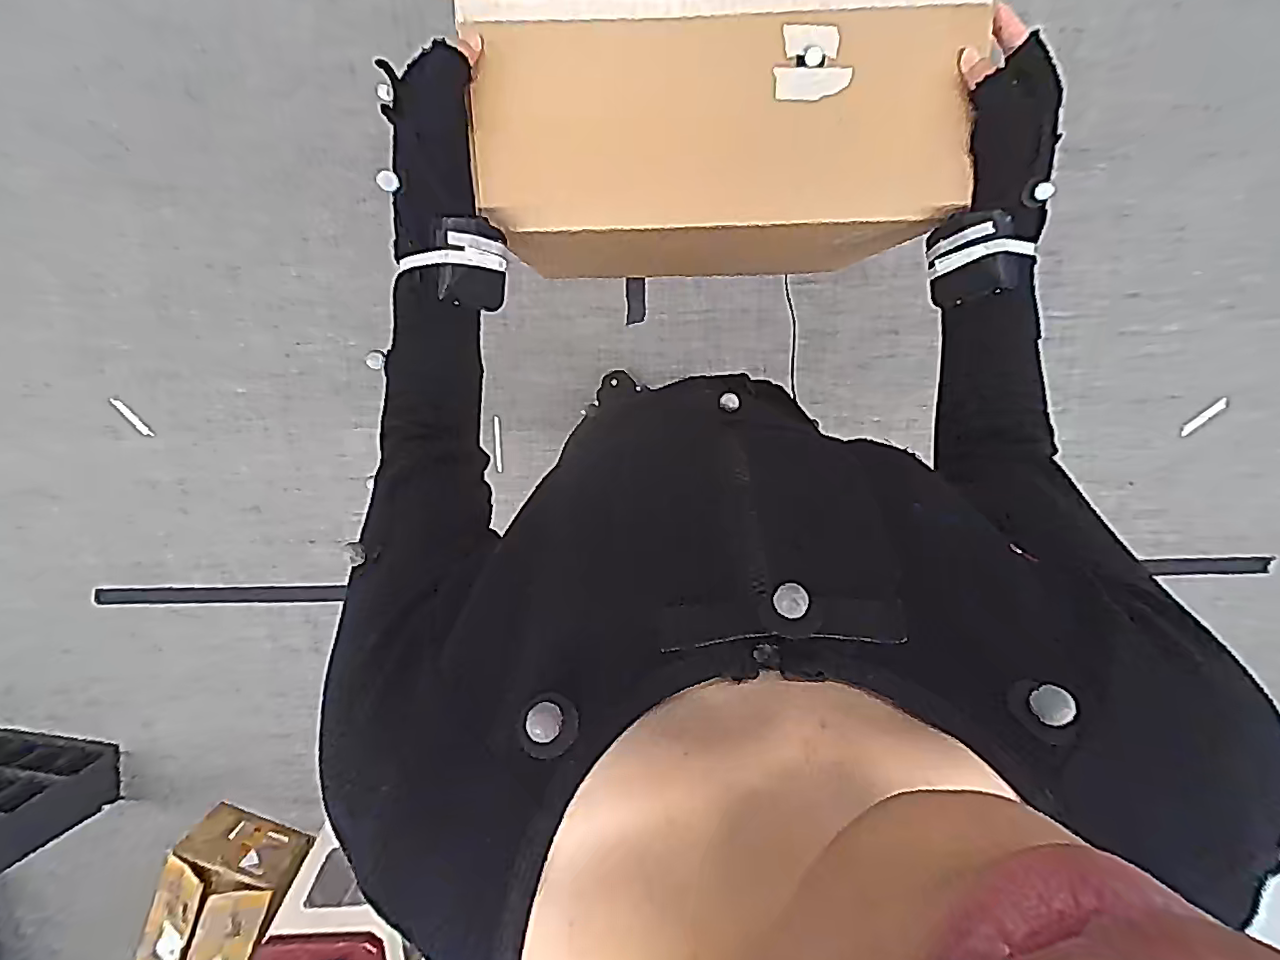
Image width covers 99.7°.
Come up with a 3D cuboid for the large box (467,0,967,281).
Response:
[{"bbox_3d":[0.058,-0.401,0.573,0.408,0.320,0.320,-2,104,-1],"label":"large box"}]
